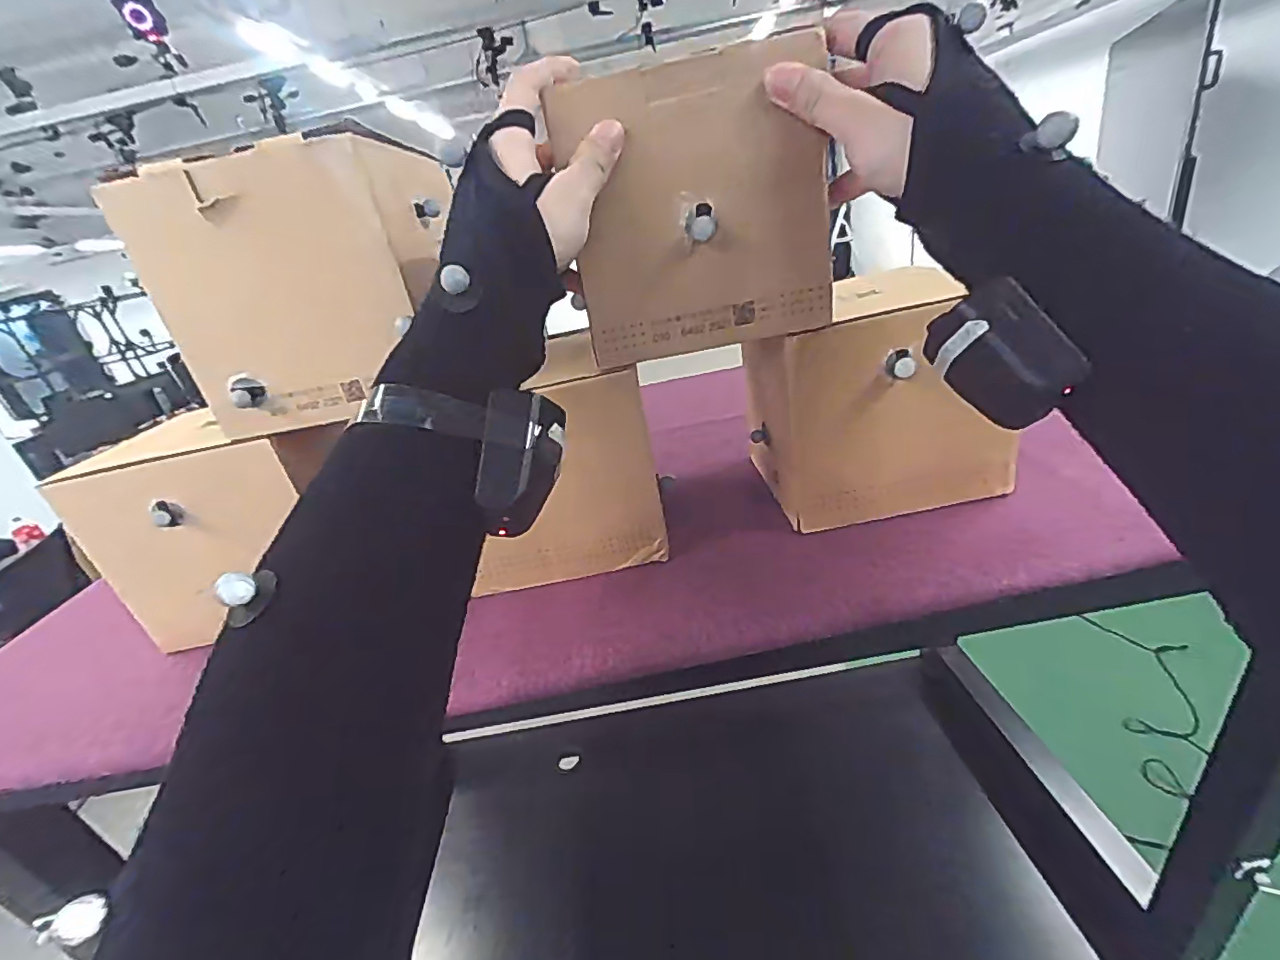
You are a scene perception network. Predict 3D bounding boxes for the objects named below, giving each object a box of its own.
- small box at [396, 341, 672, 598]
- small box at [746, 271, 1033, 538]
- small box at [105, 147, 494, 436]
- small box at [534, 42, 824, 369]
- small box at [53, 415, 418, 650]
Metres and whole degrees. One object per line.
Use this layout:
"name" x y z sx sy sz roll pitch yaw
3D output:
"small box" -0.077 -0.015 0.483 0.179 0.176 0.168 -11 26 2
"small box" 0.196 -0.072 0.475 0.179 0.176 0.168 -13 25 3
"small box" -0.232 -0.142 0.430 0.168 0.176 0.179 -10 25 4
"small box" 0.032 -0.190 0.414 0.168 0.176 0.179 -11 26 3
"small box" -0.340 0.033 0.501 0.179 0.176 0.168 -12 26 1
